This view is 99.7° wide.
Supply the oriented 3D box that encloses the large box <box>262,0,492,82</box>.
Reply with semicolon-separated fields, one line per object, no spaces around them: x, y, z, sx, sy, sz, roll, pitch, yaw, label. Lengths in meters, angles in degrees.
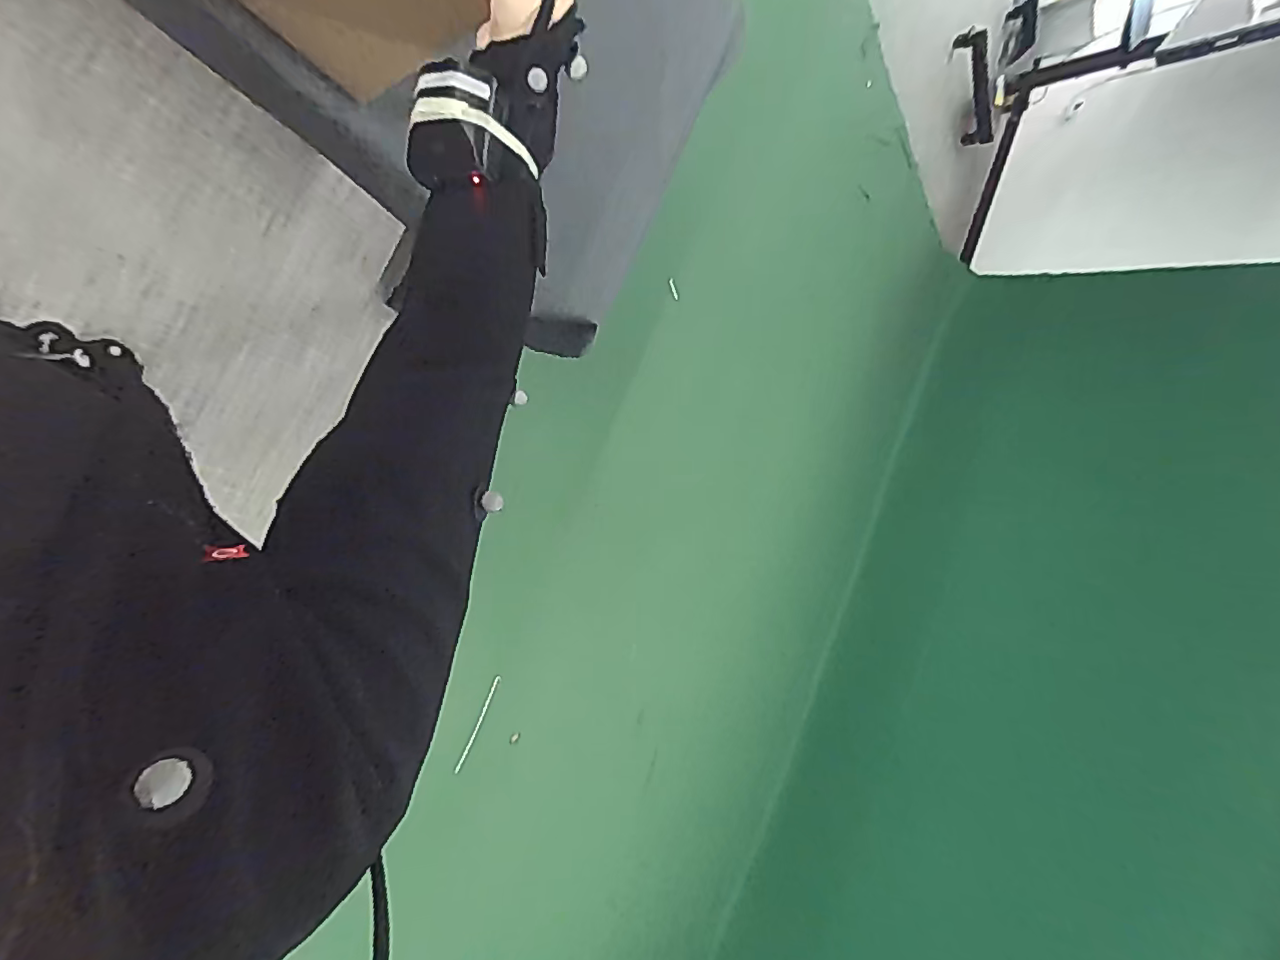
-0.249;-0.563;0.323;0.408;0.320;0.320;27;89;-47;large box
